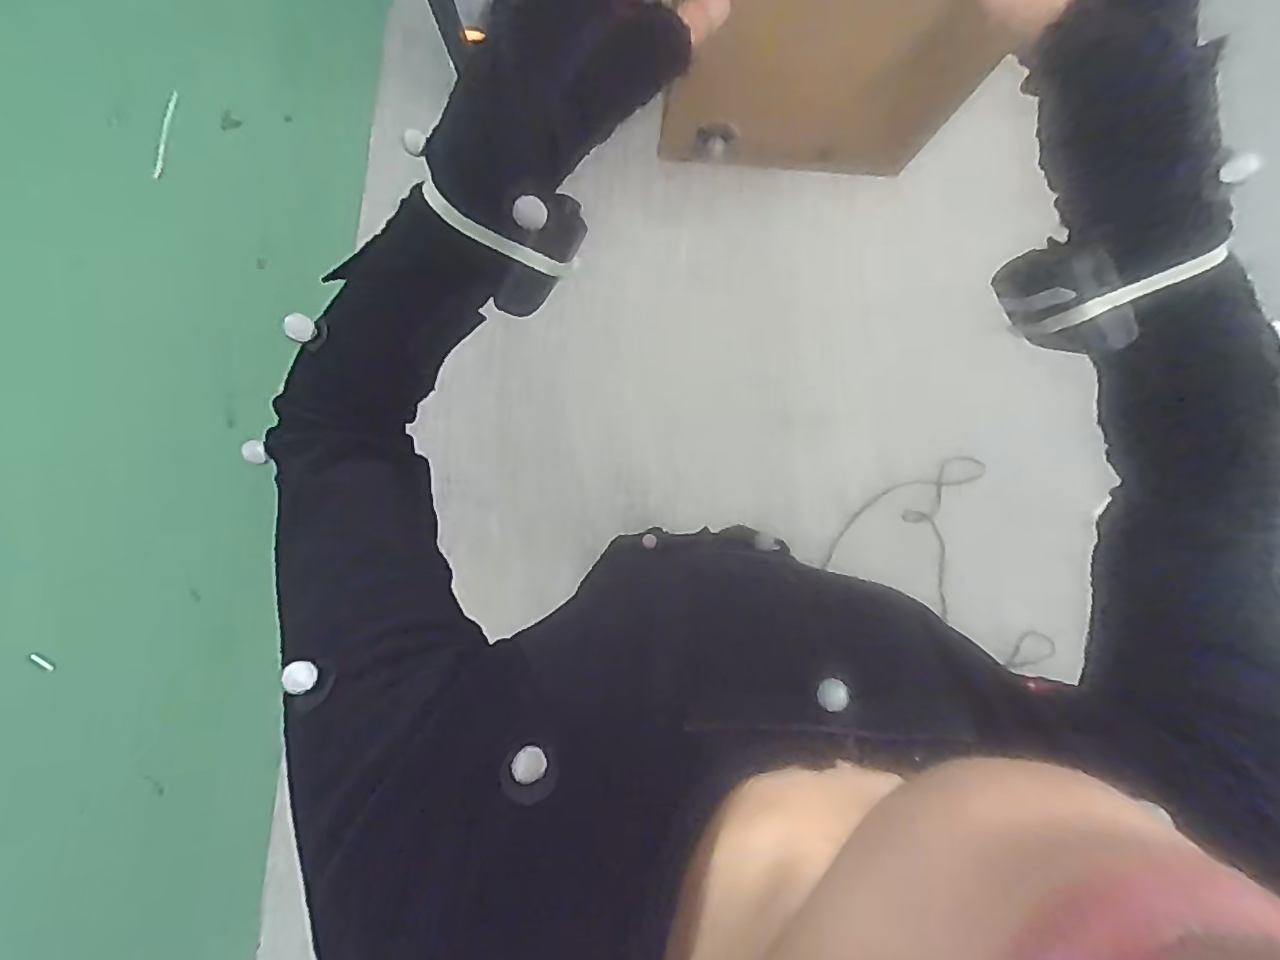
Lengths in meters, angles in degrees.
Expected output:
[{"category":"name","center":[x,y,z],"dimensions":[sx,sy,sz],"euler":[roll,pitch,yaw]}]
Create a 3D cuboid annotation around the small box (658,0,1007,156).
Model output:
[{"category":"small box","center":[0.101,-0.308,0.287],"dimensions":[0.168,0.176,0.179],"euler":[2,86,-4]}]
